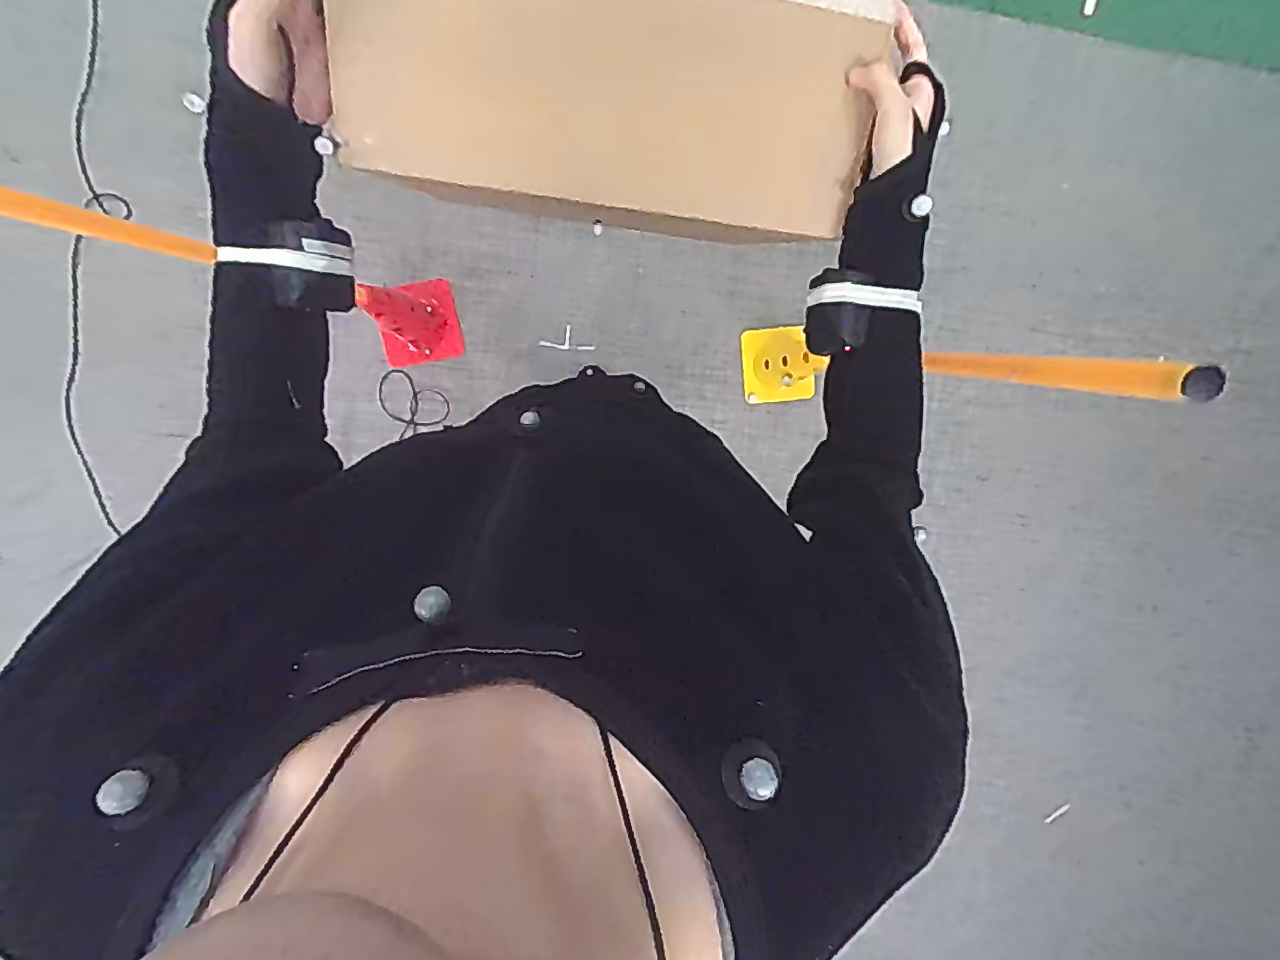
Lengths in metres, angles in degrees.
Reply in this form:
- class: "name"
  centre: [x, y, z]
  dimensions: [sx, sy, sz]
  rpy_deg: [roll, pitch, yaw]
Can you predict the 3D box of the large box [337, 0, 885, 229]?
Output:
- class: "large box"
  centre: [-0.023, -0.431, 0.520]
  dimensions: [0.408, 0.320, 0.320]
  rpy_deg: [4, 113, -8]
